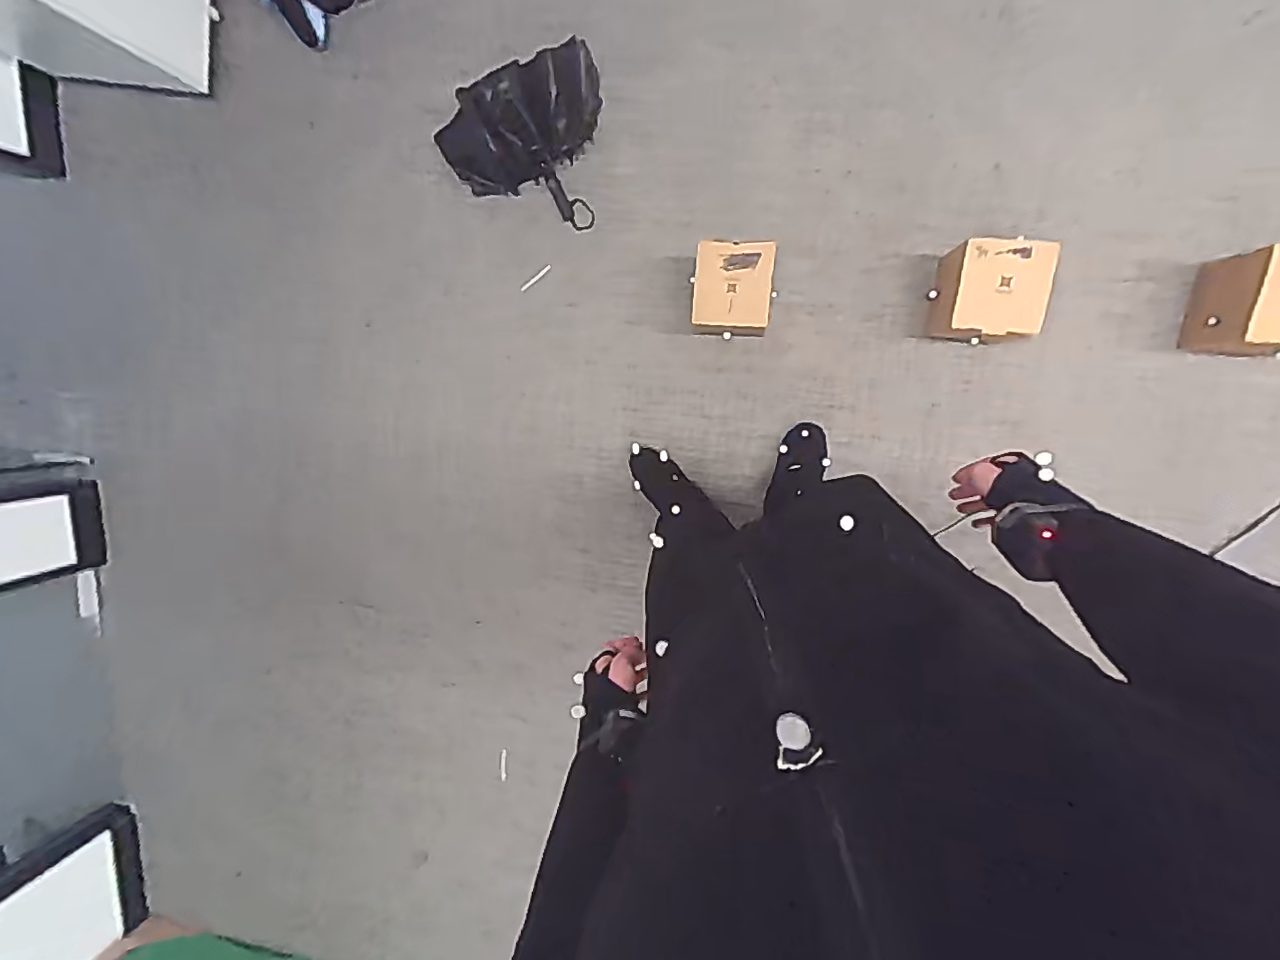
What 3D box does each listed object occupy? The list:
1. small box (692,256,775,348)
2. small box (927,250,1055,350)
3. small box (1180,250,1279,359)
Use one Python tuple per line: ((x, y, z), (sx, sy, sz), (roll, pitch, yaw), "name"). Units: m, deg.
((0.216, -0.405, 1.248), (0.168, 0.176, 0.179), (5, 100, 11), "small box")
((0.728, -0.374, 1.147), (0.168, 0.176, 0.179), (8, 101, 11), "small box")
((1.217, -0.332, 1.050), (0.168, 0.176, 0.179), (7, 99, 10), "small box")
